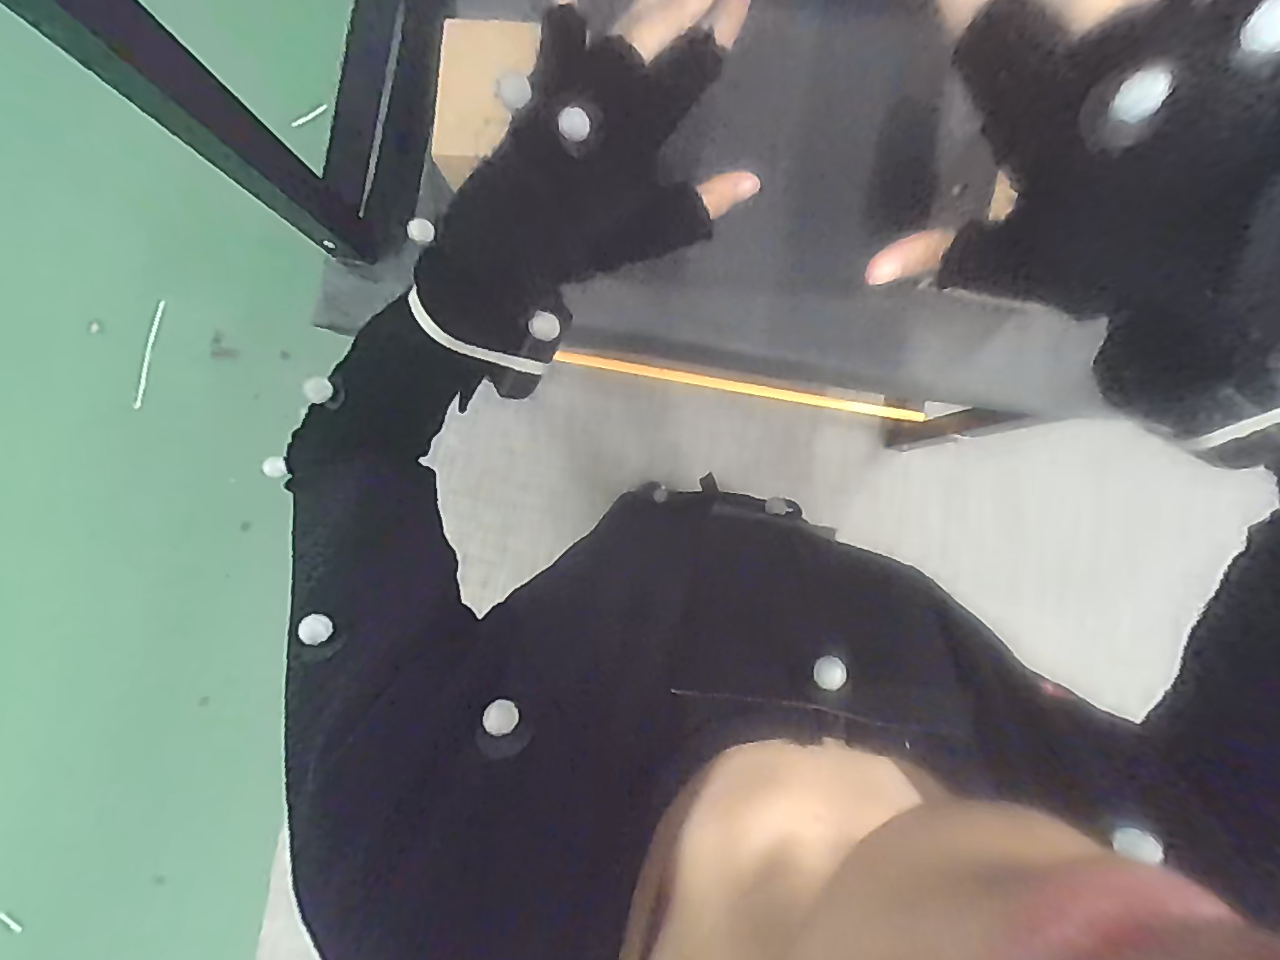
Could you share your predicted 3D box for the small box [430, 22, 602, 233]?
[{"bbox_3d":[-0.150,-0.446,0.709,0.179,0.176,0.168,5,88,1],"label":"small box"}]
